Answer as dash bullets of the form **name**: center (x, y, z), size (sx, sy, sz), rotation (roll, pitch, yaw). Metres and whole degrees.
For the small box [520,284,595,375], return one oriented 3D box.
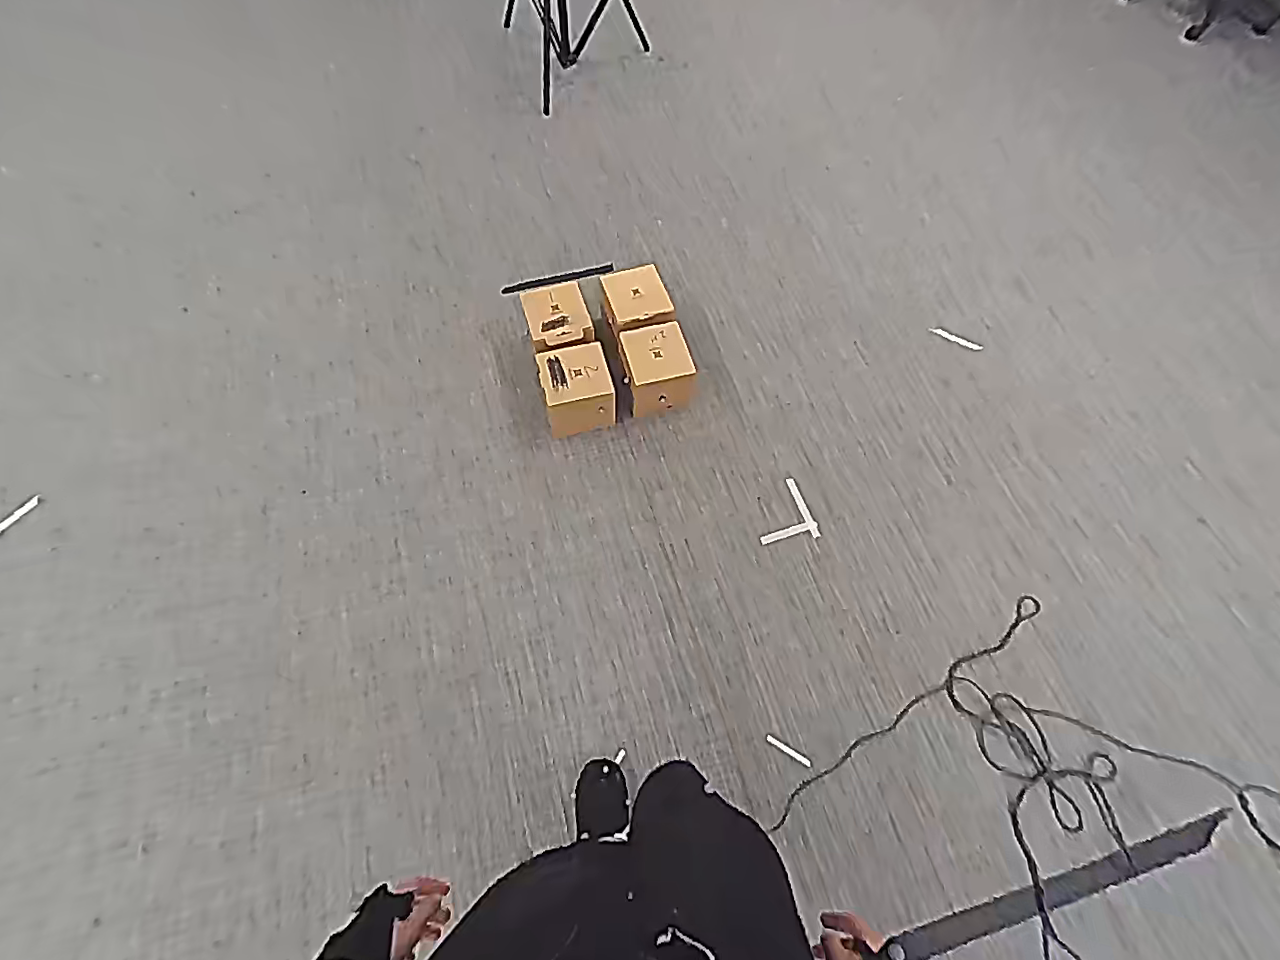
- **small box**: center (-0.229, -0.417, 1.531), size (0.168, 0.176, 0.179), rotation (-15, 66, -9)
